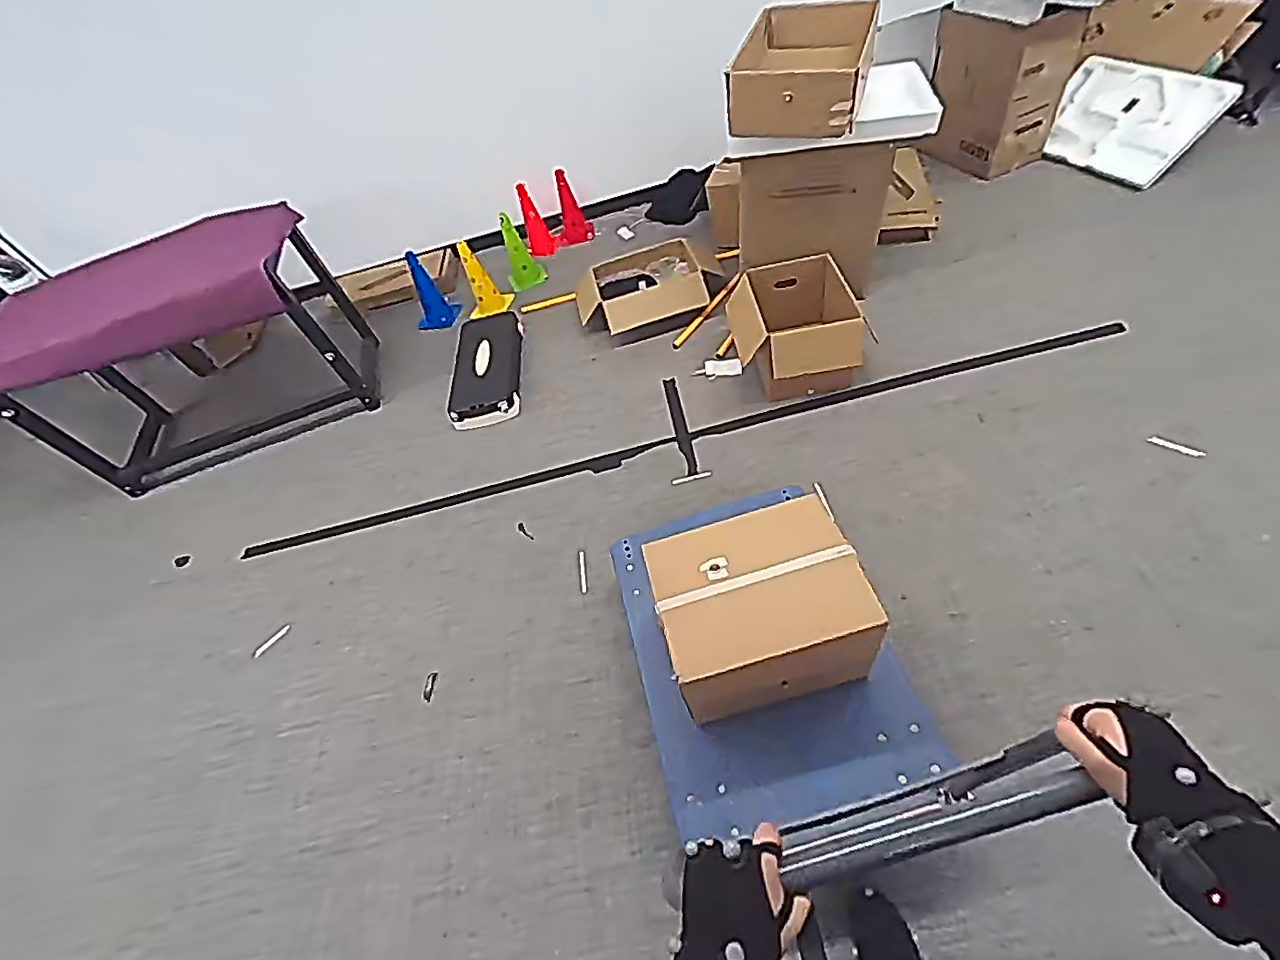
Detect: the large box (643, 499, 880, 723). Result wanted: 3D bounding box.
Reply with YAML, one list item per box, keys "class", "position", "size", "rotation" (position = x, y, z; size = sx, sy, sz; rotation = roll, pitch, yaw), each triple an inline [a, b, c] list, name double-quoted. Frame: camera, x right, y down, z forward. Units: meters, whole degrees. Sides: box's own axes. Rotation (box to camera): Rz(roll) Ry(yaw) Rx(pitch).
- class: "large box"
  position: [0.261, 0.302, 1.219]
  size: [0.408, 0.320, 0.320]
  rotation: [-18, 50, 1]
